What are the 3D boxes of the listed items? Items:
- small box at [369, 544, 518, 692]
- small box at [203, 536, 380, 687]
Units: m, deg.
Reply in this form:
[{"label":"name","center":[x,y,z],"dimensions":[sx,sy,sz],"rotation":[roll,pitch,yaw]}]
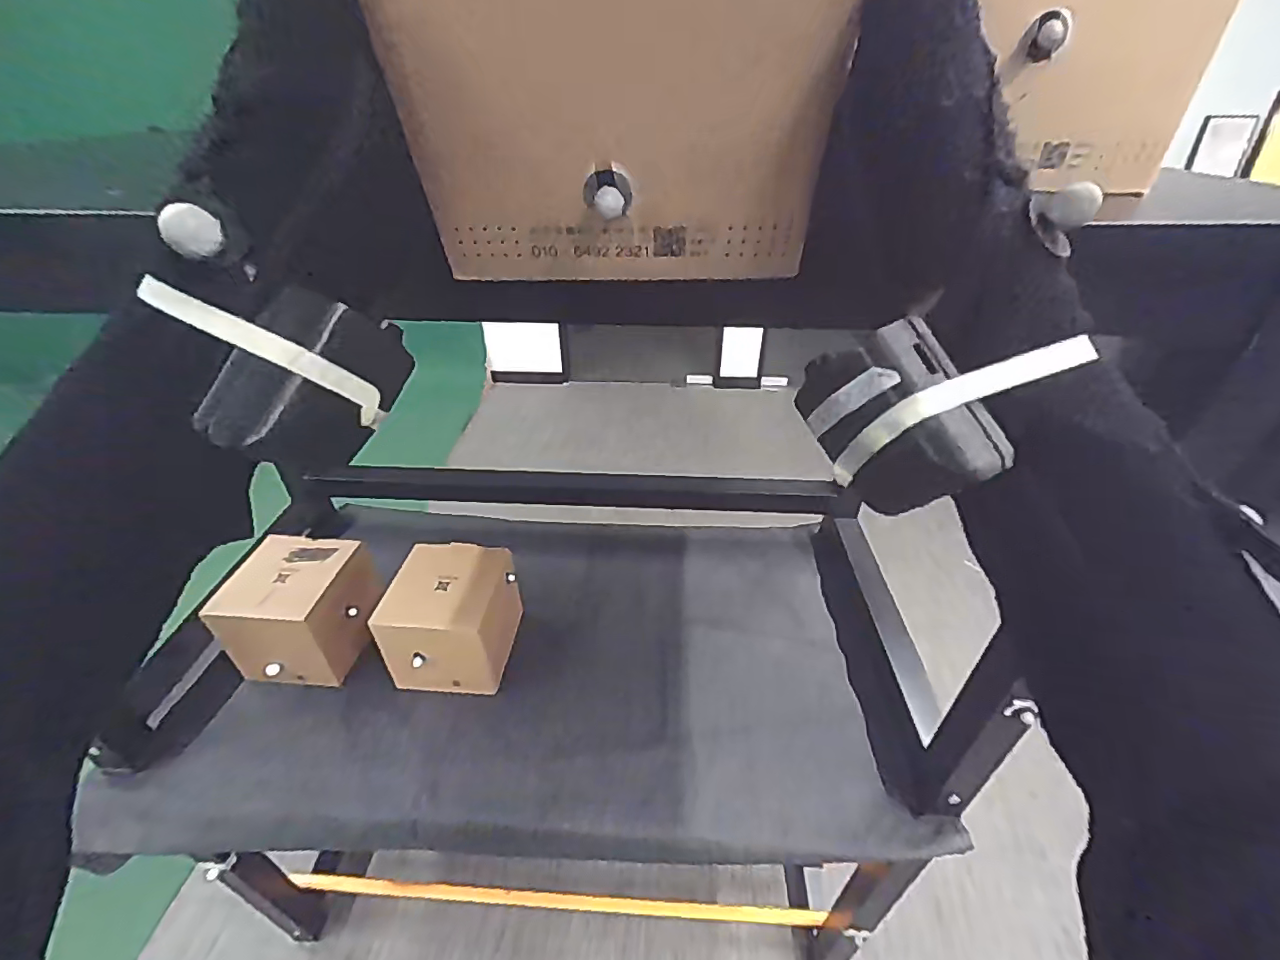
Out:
[{"label":"small box","center":[-0.309,0.229,0.896],"dimensions":[0.168,0.176,0.179],"rotation":[3,36,3]},{"label":"small box","center":[-0.562,0.216,0.907],"dimensions":[0.168,0.176,0.179],"rotation":[3,37,3]}]
